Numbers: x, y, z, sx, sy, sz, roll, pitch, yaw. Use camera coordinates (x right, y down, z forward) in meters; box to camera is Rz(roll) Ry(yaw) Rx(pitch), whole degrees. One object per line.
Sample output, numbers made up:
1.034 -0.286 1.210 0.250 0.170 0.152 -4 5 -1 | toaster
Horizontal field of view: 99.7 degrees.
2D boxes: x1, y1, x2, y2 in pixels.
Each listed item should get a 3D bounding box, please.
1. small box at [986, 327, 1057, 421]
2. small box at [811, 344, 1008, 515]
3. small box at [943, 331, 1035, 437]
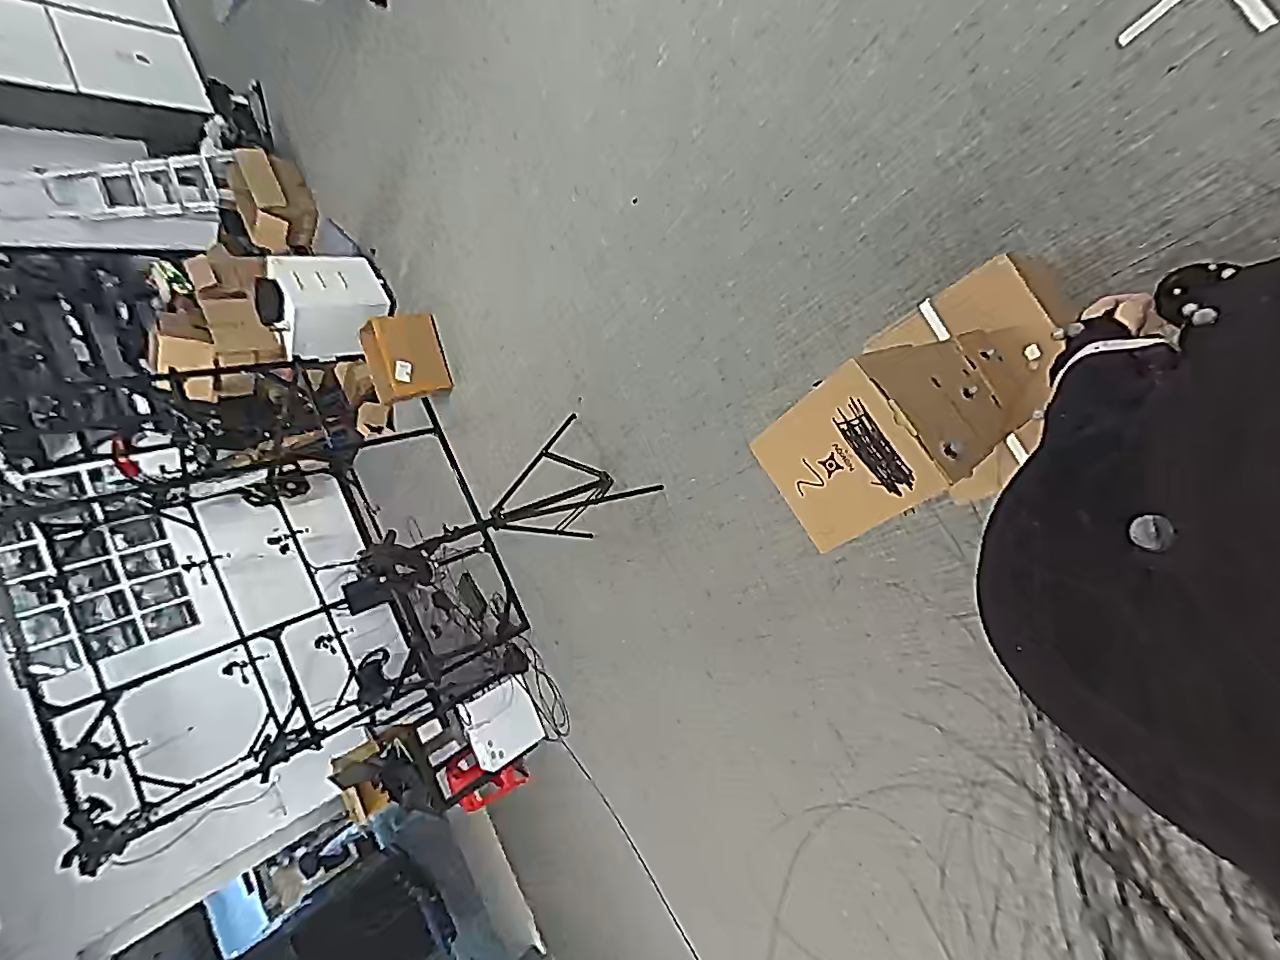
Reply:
0.618 -0.161 0.994 0.179 0.176 0.168 -36 79 47 | small box
0.390 -0.078 0.775 0.179 0.176 0.168 -44 71 46 | small box
0.505 -0.125 0.882 0.179 0.176 0.168 -39 75 48 | small box
